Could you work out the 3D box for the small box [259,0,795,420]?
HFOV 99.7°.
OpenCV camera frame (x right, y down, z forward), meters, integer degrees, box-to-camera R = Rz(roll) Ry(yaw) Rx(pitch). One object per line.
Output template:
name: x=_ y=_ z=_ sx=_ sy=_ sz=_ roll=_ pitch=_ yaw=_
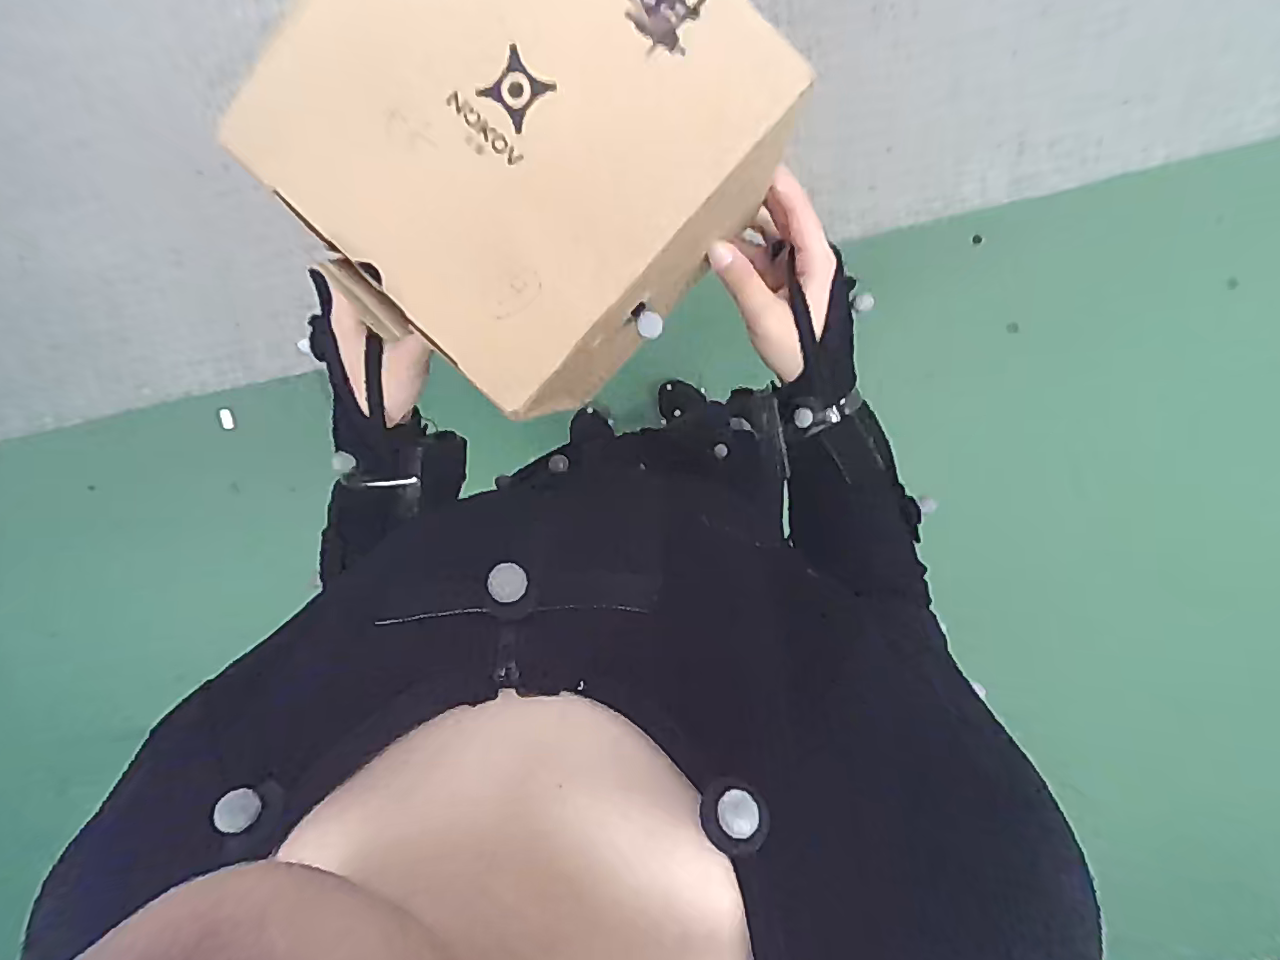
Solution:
small box: x=-0.045 y=-0.153 z=0.303 sx=0.168 sy=0.176 sz=0.179 roll=43 pitch=100 yaw=-4
